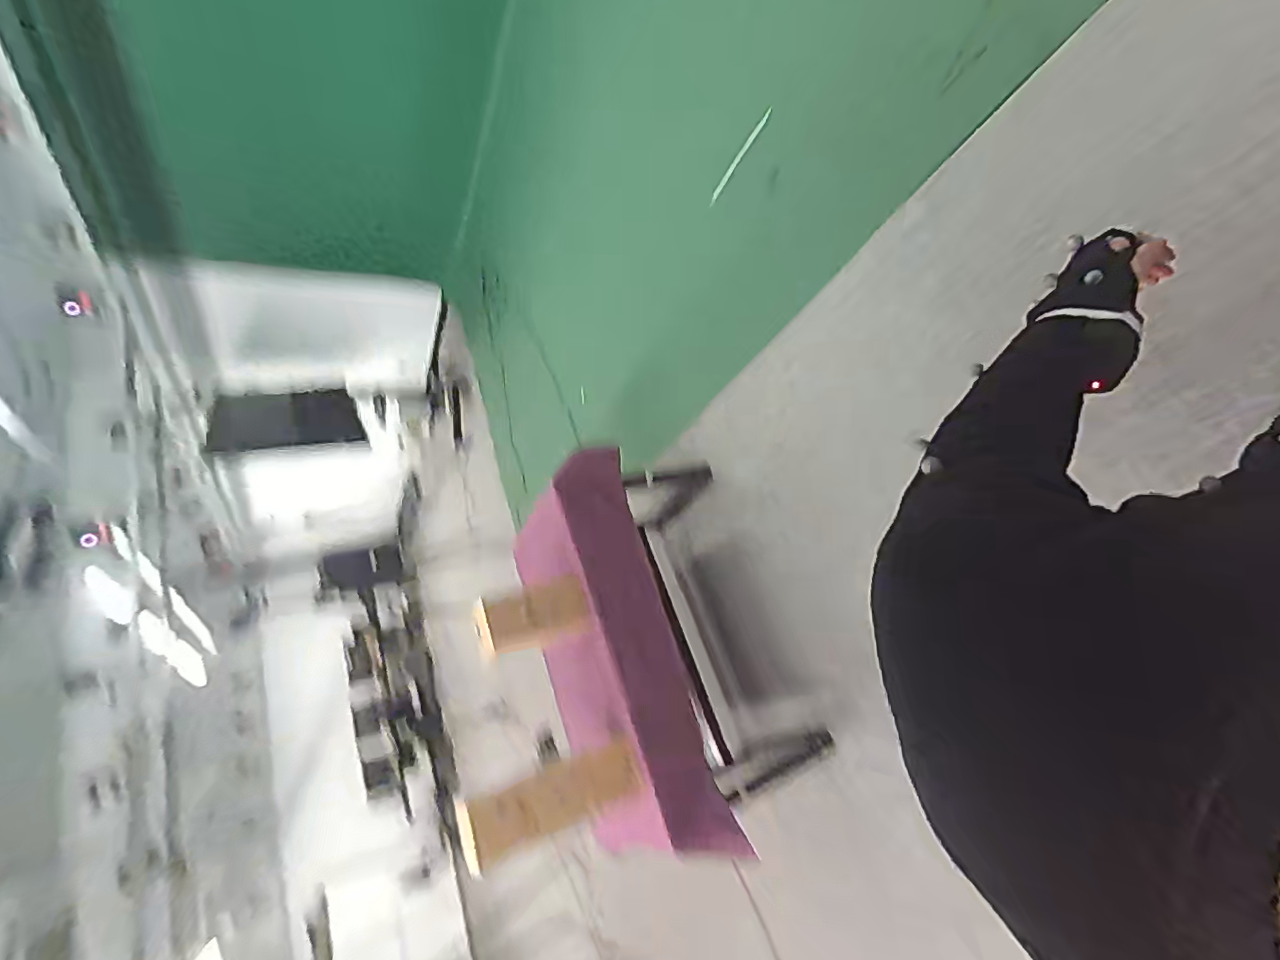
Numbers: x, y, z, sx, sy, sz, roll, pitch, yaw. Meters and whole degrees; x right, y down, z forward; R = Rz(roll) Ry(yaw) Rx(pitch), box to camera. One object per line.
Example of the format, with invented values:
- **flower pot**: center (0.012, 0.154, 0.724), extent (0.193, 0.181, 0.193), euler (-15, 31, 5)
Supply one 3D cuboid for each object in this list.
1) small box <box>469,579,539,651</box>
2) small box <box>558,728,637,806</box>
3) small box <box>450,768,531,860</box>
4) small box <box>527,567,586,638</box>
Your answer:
- **small box**: center (-0.440, 0.436, 1.750), extent (0.179, 0.176, 0.168), euler (-48, 57, 50)
- **small box**: center (-0.131, 0.879, 1.662), extent (0.179, 0.176, 0.168), euler (-45, 58, 51)
- **small box**: center (-0.410, 0.912, 1.492), extent (0.179, 0.176, 0.168), euler (-44, 58, 52)
- **small box**: center (-0.298, 0.414, 1.831), extent (0.168, 0.176, 0.179), euler (-45, 59, 51)
